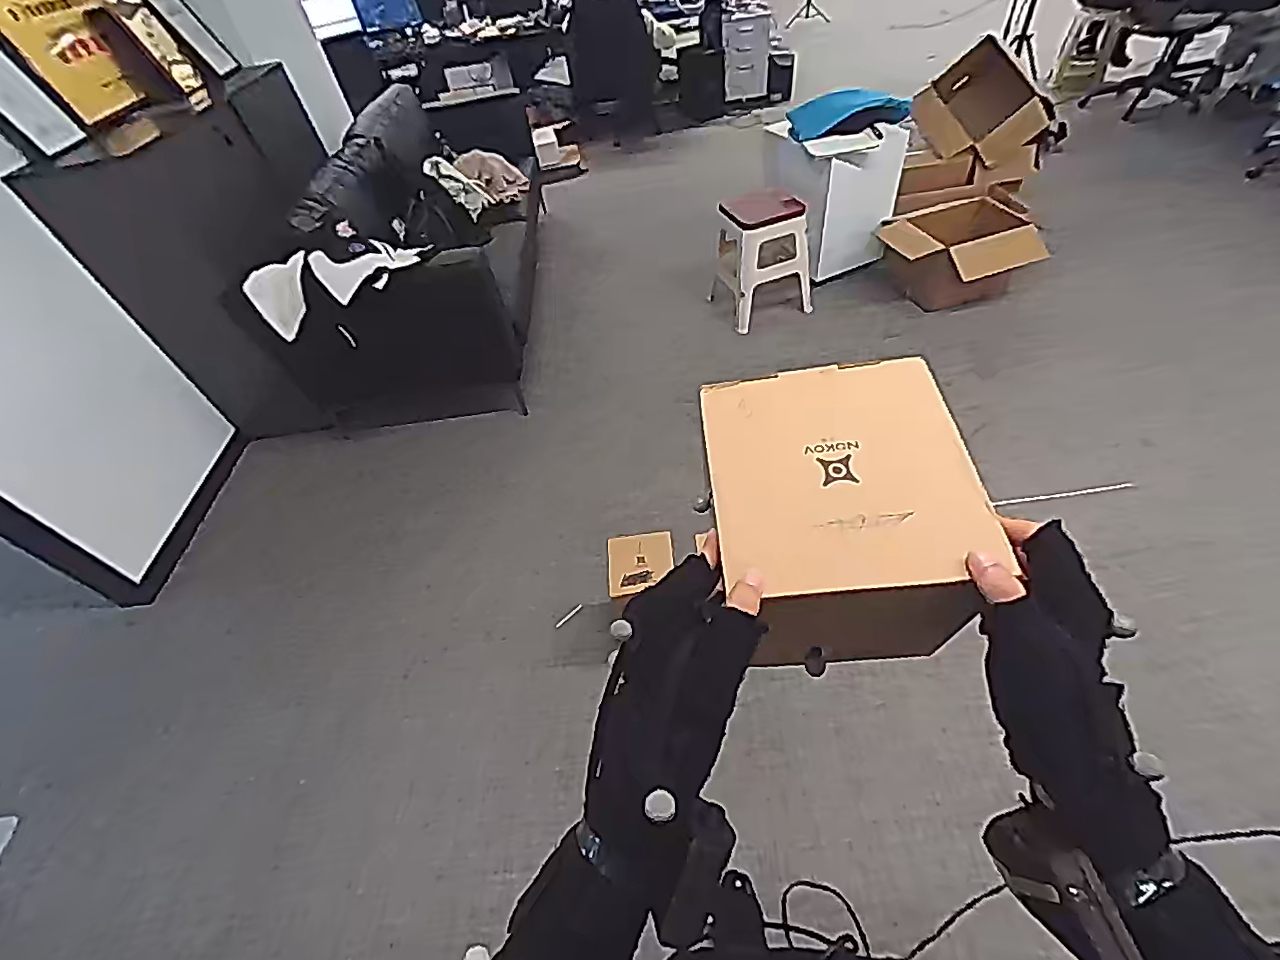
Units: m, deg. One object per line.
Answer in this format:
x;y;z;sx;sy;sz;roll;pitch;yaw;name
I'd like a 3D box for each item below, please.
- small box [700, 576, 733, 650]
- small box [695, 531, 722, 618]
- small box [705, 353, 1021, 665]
0.261;0.349;1.505;0.168;0.176;0.179;-9;47;2;small box
0.245;0.237;1.387;0.179;0.176;0.168;-9;48;1;small box
0.141;0.030;0.420;0.168;0.176;0.179;-7;57;6;small box
